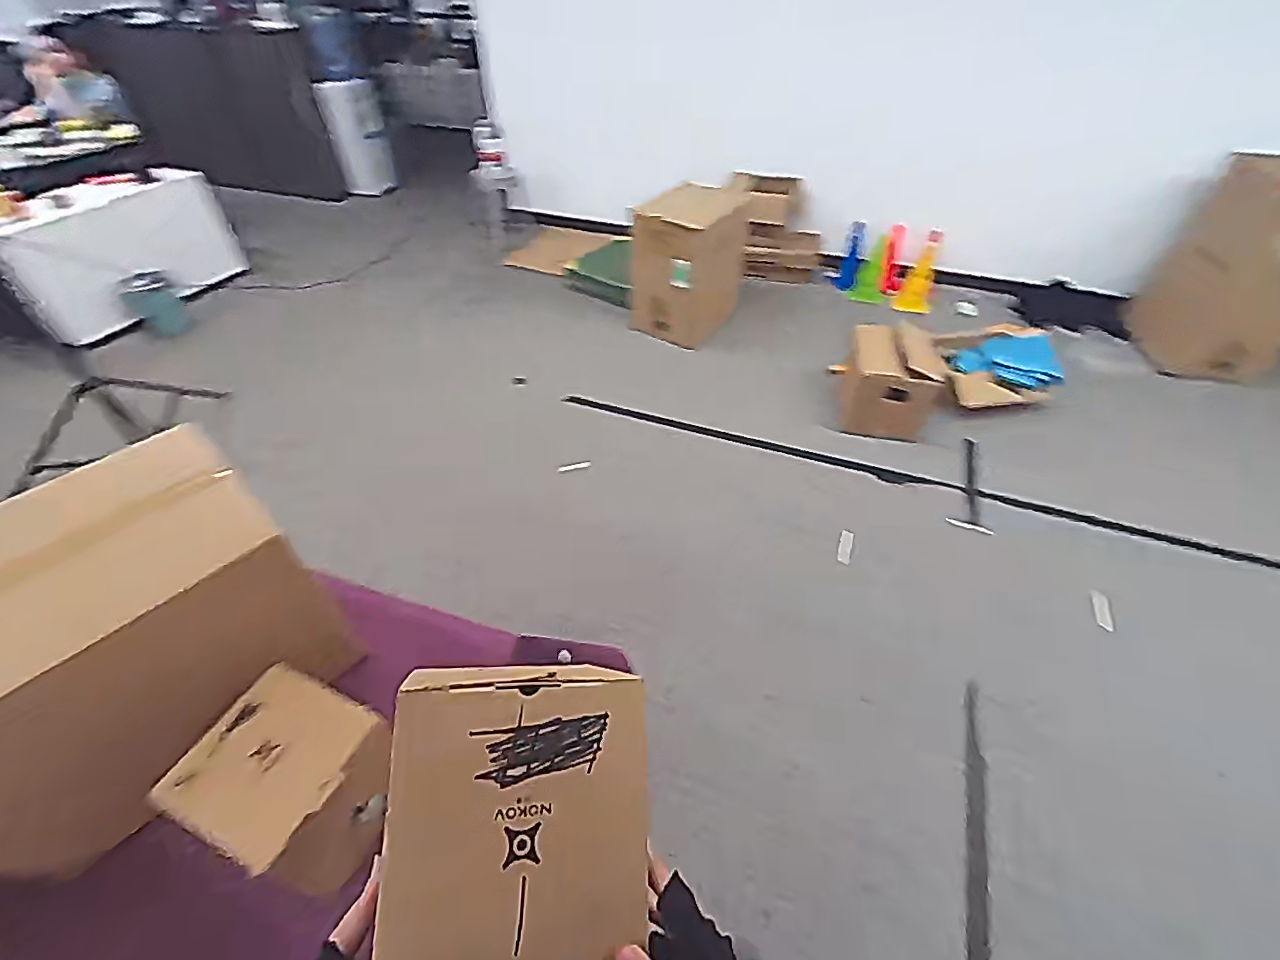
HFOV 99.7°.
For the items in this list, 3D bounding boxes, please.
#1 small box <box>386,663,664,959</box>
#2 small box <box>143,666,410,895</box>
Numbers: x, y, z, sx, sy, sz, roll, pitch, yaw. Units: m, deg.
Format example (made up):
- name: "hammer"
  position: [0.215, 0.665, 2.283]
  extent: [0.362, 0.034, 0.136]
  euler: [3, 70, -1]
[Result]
- name: "small box"
  position: [-0.087, 0.232, 0.411]
  extent: [0.168, 0.176, 0.179]
  euler: [5, 73, -17]
- name: "small box"
  position: [-0.411, 0.362, 0.650]
  extent: [0.179, 0.176, 0.168]
  euler: [17, 47, 17]
